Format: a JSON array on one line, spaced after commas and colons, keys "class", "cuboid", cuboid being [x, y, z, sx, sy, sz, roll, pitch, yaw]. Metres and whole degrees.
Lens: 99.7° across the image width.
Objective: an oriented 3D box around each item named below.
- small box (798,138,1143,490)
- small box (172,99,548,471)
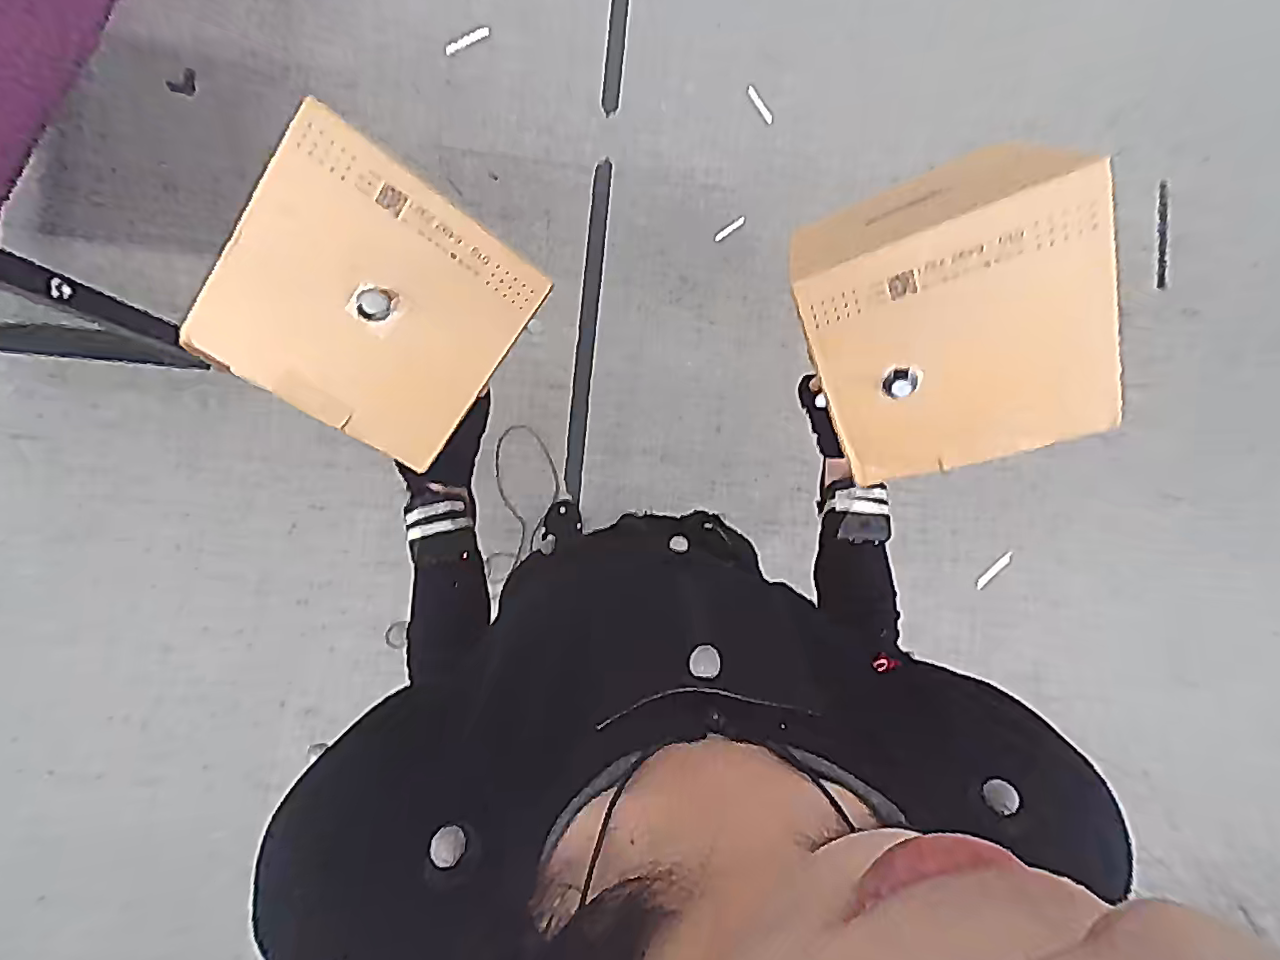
[{"class": "small box", "cuboid": [0.220, -0.123, 0.396, 0.168, 0.179, 0.176, -14, 120, 23]}, {"class": "small box", "cuboid": [-0.183, -0.138, 0.406, 0.168, 0.179, 0.176, 33, 101, -21]}]
